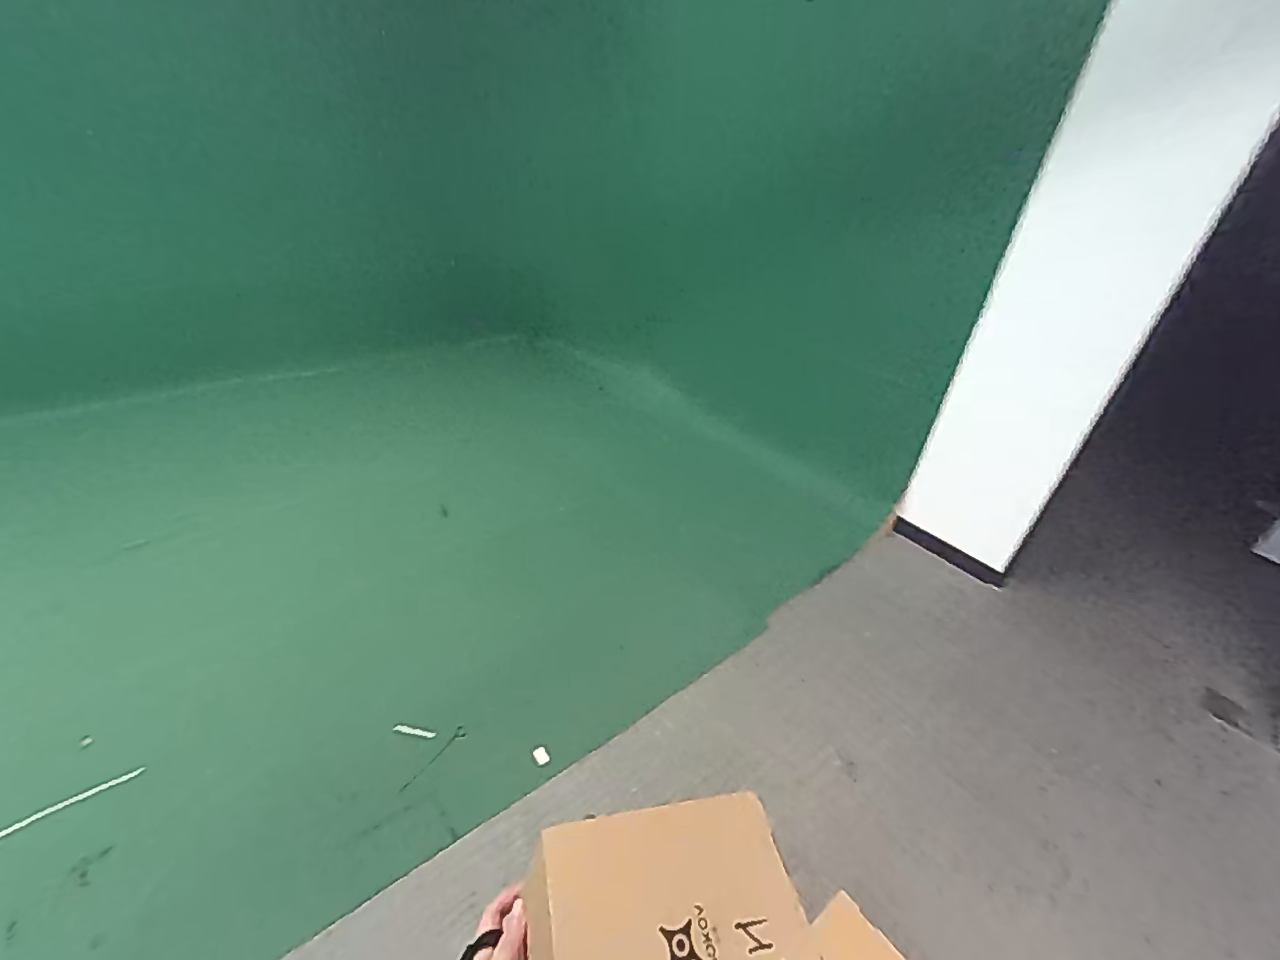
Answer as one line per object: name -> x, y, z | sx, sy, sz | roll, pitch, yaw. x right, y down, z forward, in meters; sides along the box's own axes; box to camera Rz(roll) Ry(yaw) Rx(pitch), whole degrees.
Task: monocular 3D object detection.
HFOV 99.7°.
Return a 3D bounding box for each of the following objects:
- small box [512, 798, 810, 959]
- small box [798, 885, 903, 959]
small box -> 0.006, 0.361, 0.385 | 0.179, 0.176, 0.168 | 4, 37, -21
small box -> 0.260, 0.716, 0.735 | 0.179, 0.176, 0.168 | -21, 43, -32
